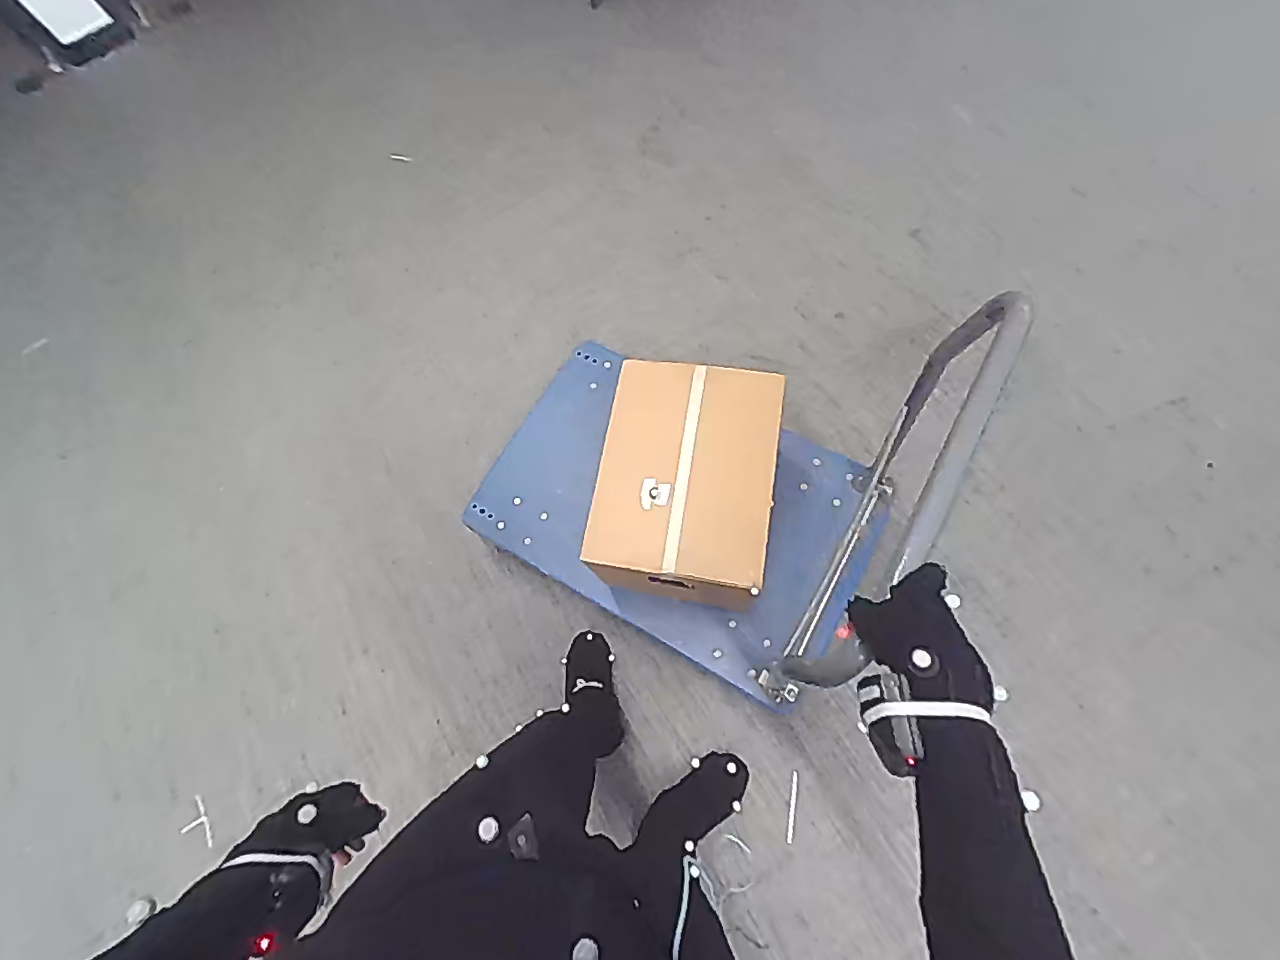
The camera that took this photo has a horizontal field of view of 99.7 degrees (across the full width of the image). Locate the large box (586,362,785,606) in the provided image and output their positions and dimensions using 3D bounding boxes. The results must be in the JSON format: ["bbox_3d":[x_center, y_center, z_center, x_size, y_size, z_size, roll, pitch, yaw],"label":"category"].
[{"bbox_3d":[0.102,0.021,1.112,0.320,0.320,0.408,8,72,10],"label":"large box"}]
